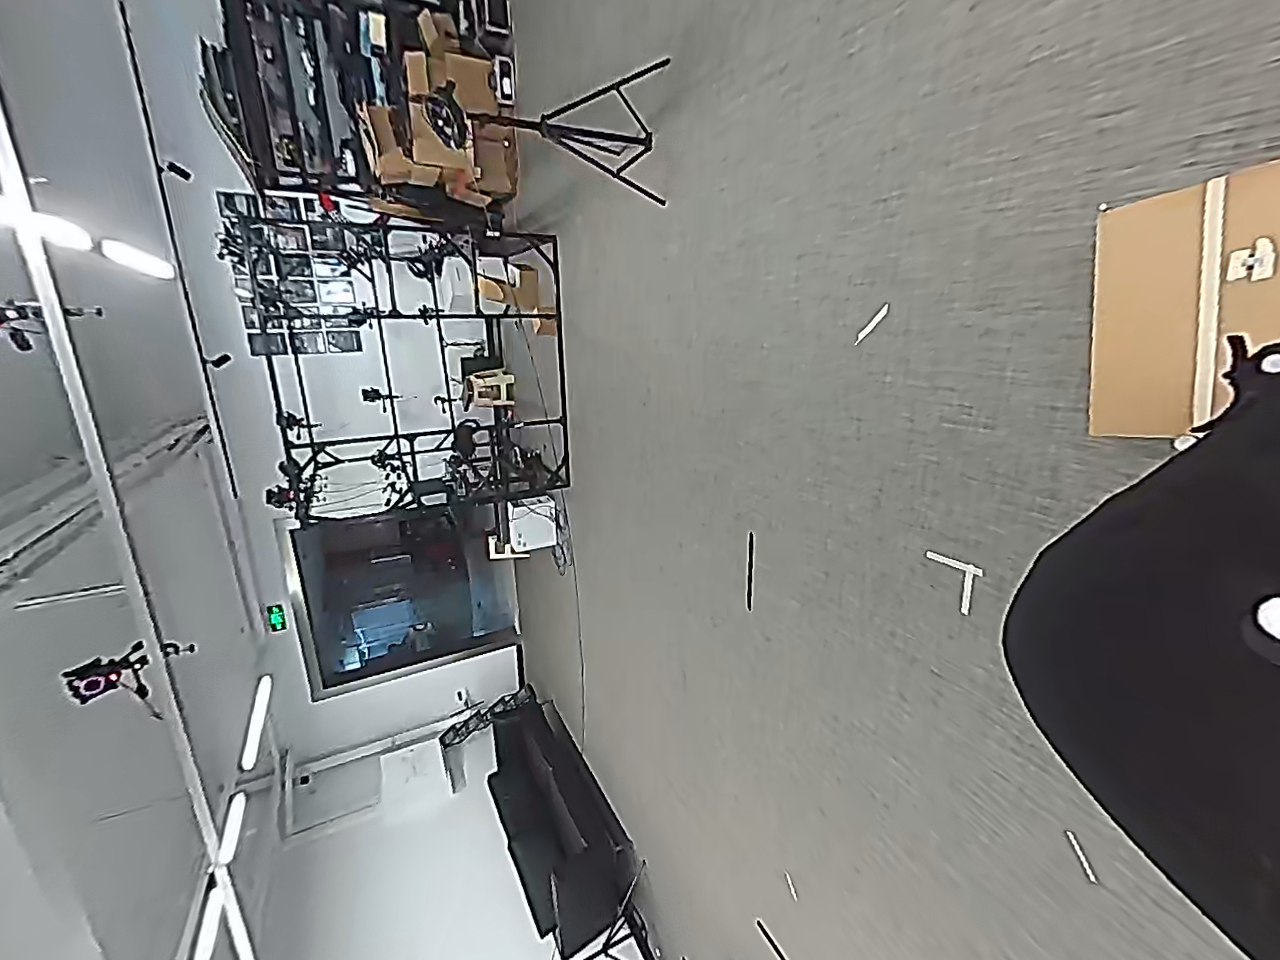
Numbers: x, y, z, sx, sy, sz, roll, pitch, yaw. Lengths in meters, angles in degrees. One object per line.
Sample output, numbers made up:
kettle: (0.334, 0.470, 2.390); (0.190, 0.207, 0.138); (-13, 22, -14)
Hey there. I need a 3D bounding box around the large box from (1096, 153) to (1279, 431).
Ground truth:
large box: (1.040, -0.295, 0.915); (0.320, 0.320, 0.408); (11, 107, 62)
